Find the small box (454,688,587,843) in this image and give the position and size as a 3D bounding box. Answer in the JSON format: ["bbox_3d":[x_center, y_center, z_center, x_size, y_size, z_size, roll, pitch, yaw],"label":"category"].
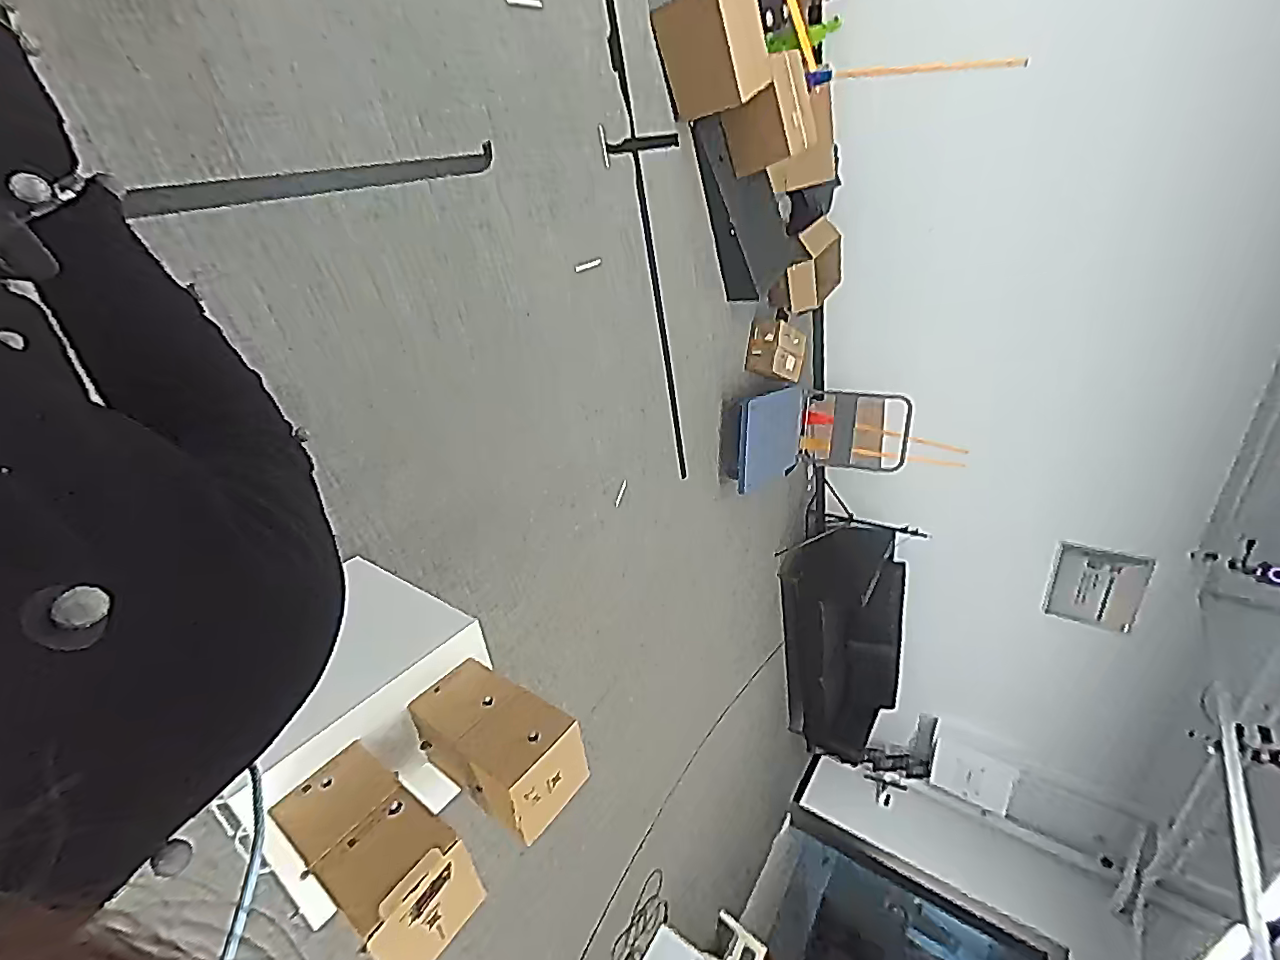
[{"bbox_3d":[-0.232,0.547,1.064,0.179,0.176,0.168,-34,126,-44],"label":"small box"}]

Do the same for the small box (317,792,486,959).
[{"bbox_3d":[-0.388,0.652,0.883,0.168,0.176,0.179,-36,129,-43],"label":"small box"}]

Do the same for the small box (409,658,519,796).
[{"bbox_3d":[-0.363,0.520,1.161,0.168,0.176,0.179,-33,127,-45],"label":"small box"}]
